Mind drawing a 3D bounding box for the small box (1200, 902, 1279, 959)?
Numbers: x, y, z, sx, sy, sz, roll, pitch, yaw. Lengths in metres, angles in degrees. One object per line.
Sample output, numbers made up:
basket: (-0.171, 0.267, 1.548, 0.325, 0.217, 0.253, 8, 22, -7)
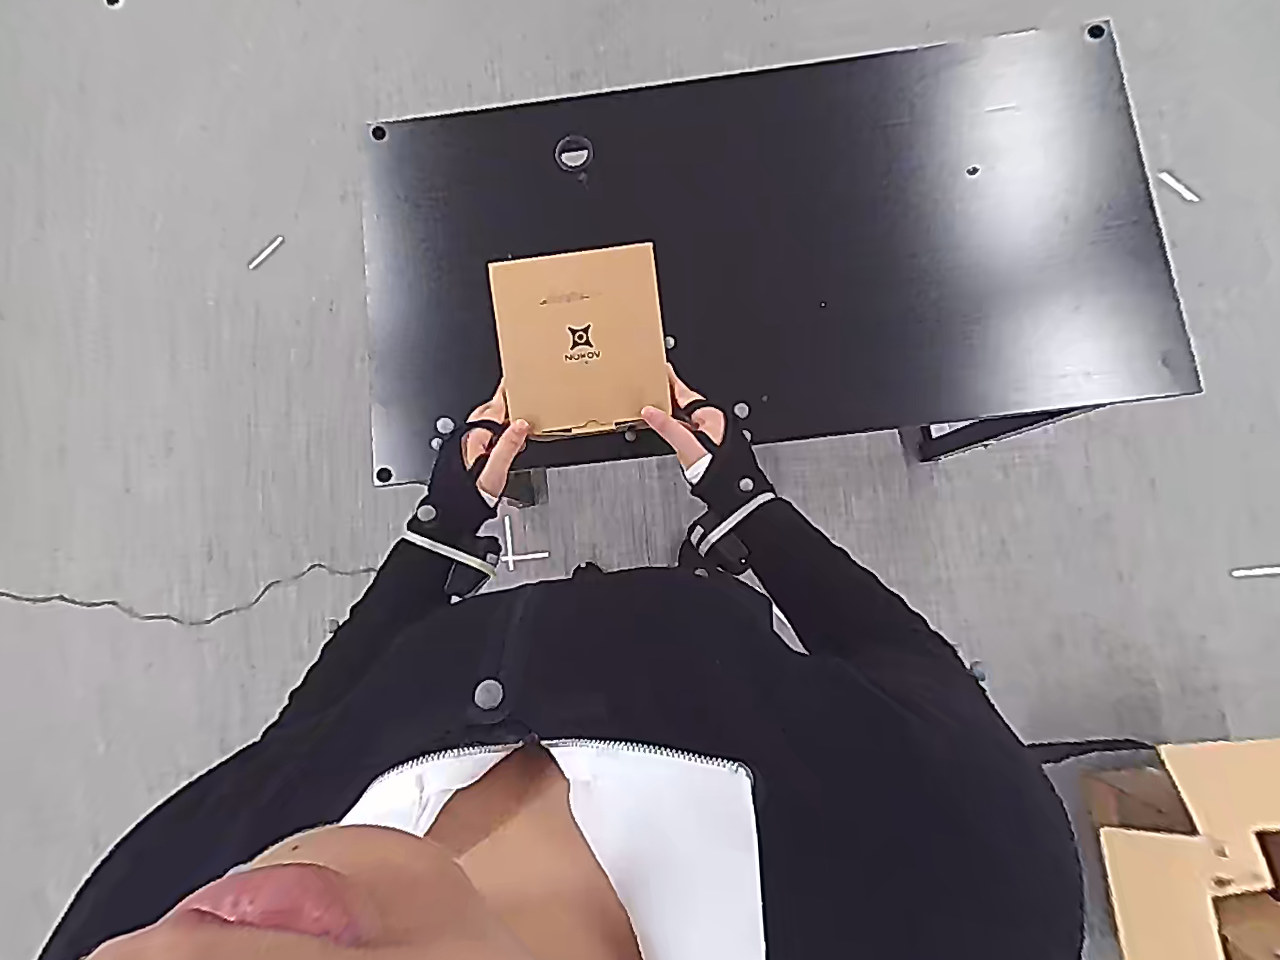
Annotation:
small box: (1.283, 0.992, 1.076, 0.179, 0.176, 0.168, -12, 86, 2)

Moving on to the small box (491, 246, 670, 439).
small box: (-0.057, -0.141, 0.618, 0.168, 0.176, 0.179, -7, 92, 0)
